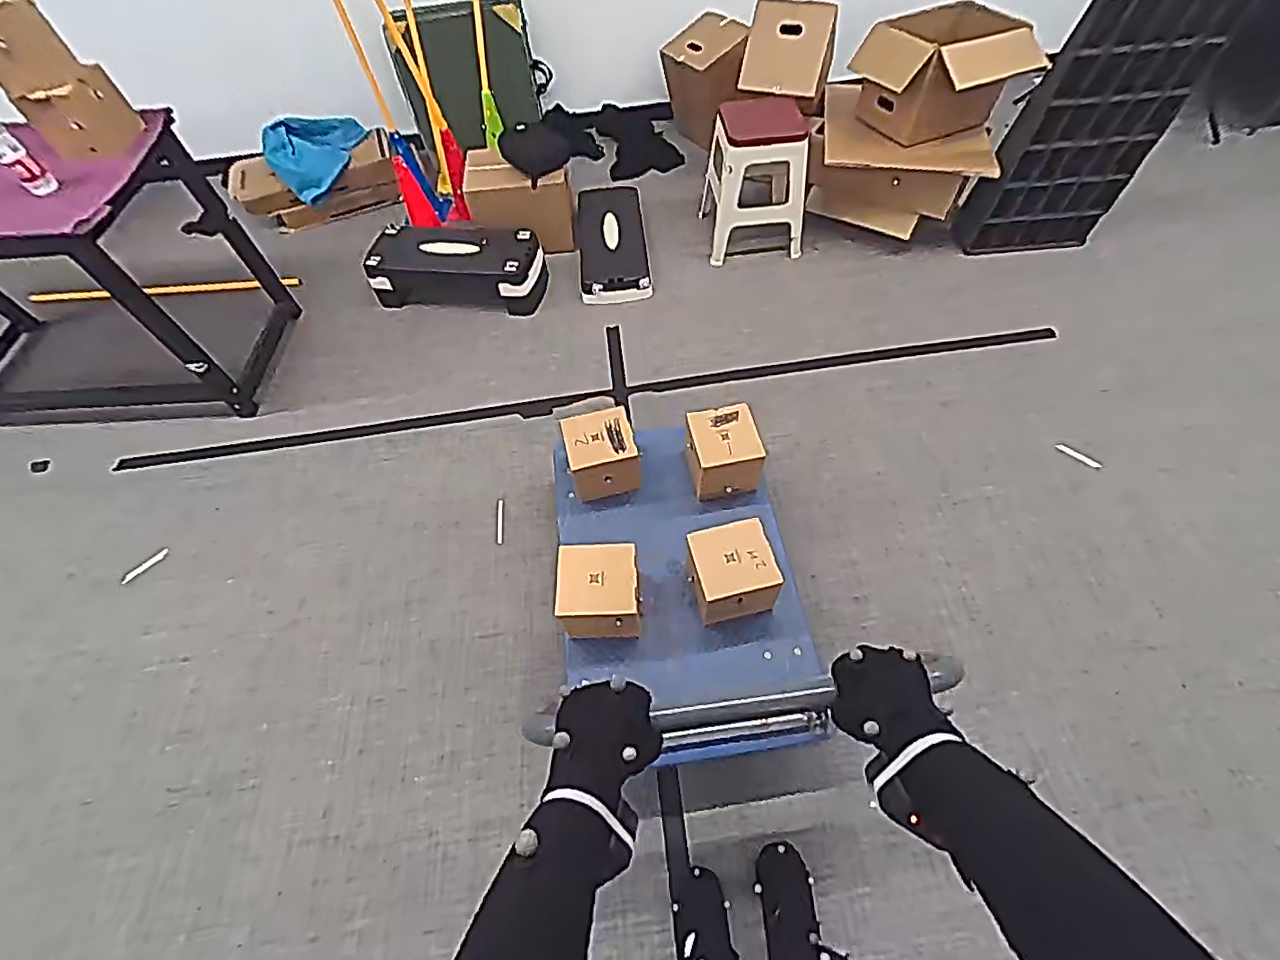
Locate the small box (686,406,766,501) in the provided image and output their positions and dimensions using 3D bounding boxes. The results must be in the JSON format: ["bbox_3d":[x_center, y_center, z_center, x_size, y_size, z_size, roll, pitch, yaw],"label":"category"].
[{"bbox_3d":[0.220,-0.068,1.443,0.168,0.176,0.179,-11,59,-3],"label":"small box"}]

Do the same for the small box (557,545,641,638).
[{"bbox_3d":[-0.090,0.263,1.256,0.179,0.176,0.168,-2,58,0],"label":"small box"}]

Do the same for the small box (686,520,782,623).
[{"bbox_3d":[0.212,0.219,1.265,0.179,0.176,0.168,-13,59,-4],"label":"small box"}]
